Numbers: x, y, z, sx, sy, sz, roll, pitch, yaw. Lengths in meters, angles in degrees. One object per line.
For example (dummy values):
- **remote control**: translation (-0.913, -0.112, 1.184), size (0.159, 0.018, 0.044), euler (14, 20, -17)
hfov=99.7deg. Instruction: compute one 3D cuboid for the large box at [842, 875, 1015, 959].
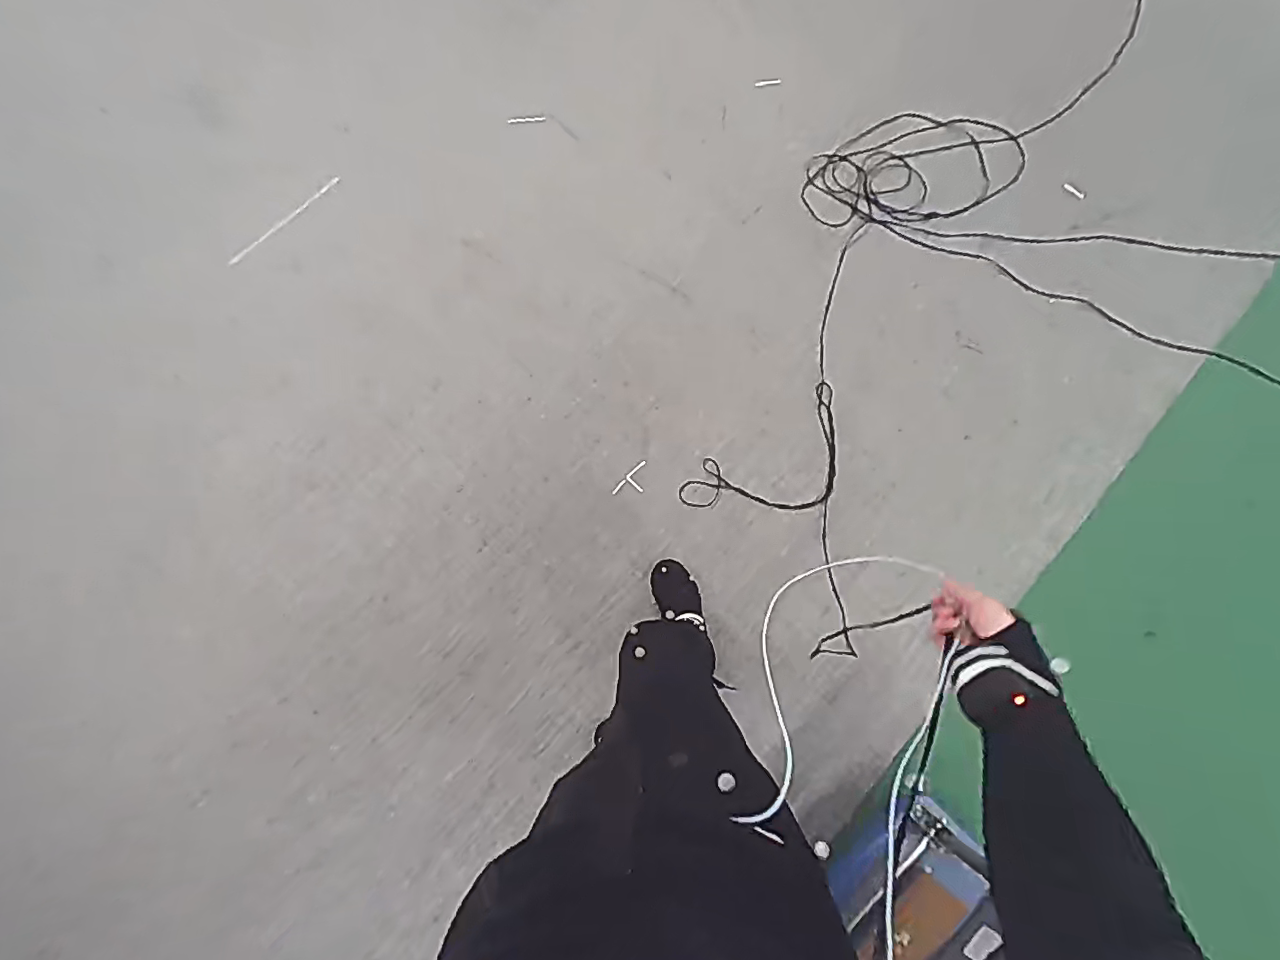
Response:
- **large box**: translation (0.591, 1.011, 0.916), size (0.320, 0.320, 0.408), euler (-41, 78, -9)
